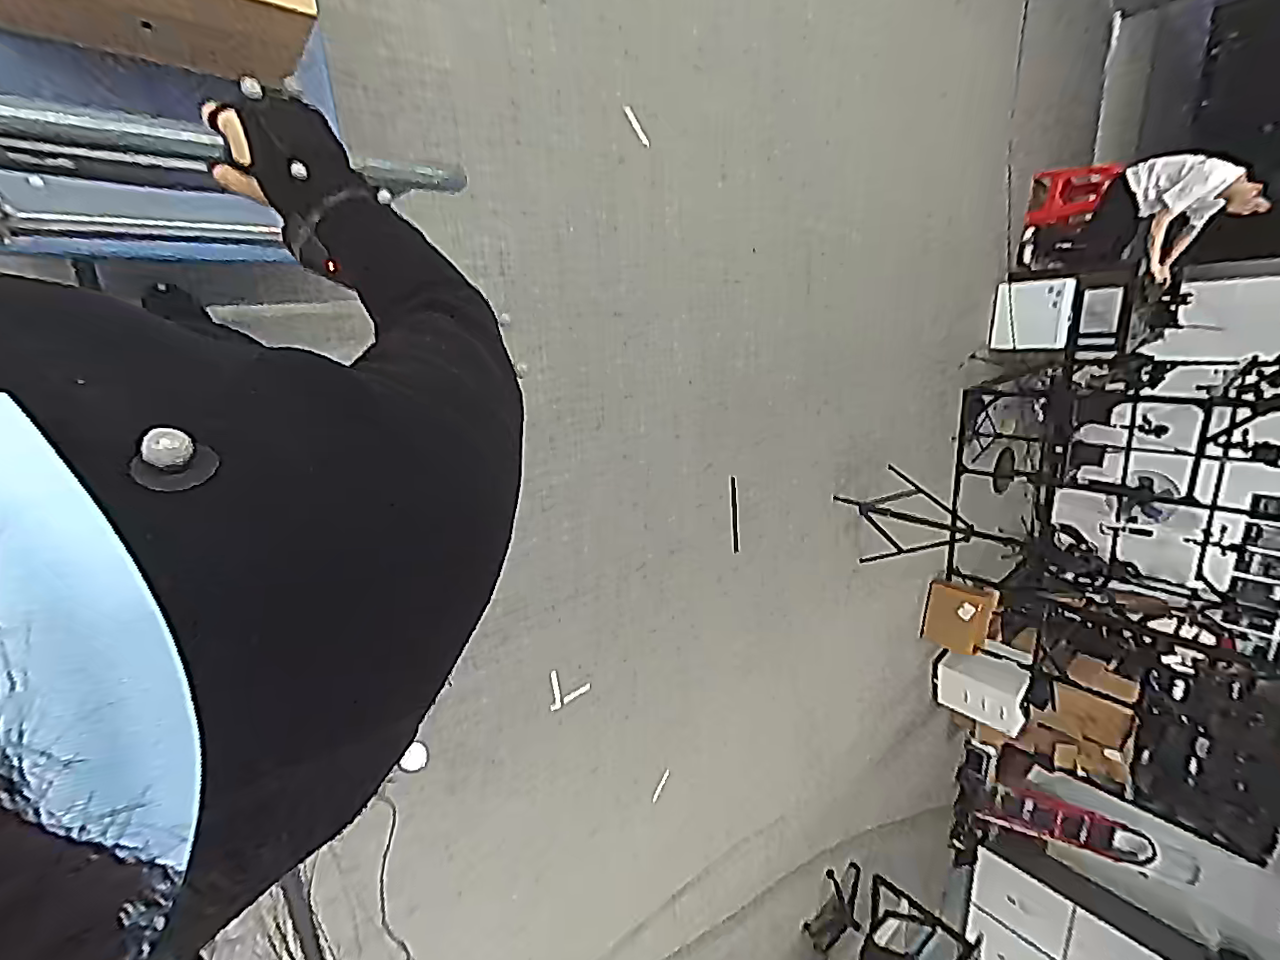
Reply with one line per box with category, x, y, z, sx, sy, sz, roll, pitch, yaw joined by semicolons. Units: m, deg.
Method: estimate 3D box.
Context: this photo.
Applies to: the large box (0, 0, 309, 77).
large box;-0.750;-0.841;0.766;0.408;0.320;0.320;-15;109;-37
